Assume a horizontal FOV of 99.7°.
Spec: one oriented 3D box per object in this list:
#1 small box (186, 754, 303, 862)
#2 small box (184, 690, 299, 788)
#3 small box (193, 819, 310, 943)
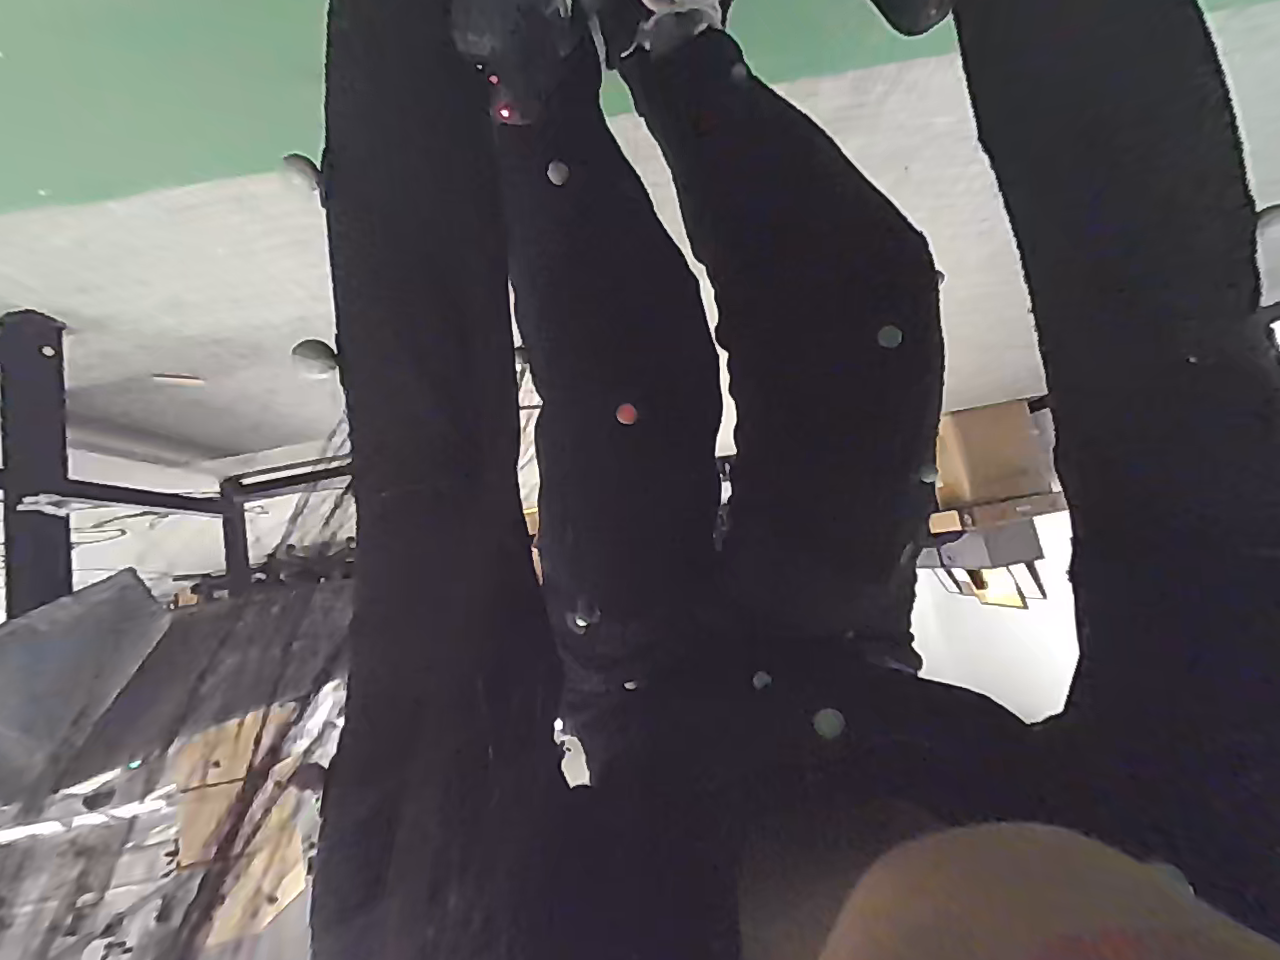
[{"bbox_3d":[-0.970,0.796,1.334,0.179,0.176,0.168,-11,171,-1],"label":"small box"},{"bbox_3d":[-1.001,0.639,1.359,0.179,0.176,0.168,-10,171,-1],"label":"small box"},{"bbox_3d":[-0.936,0.955,1.307,0.168,0.176,0.179,-10,171,-2],"label":"small box"}]
